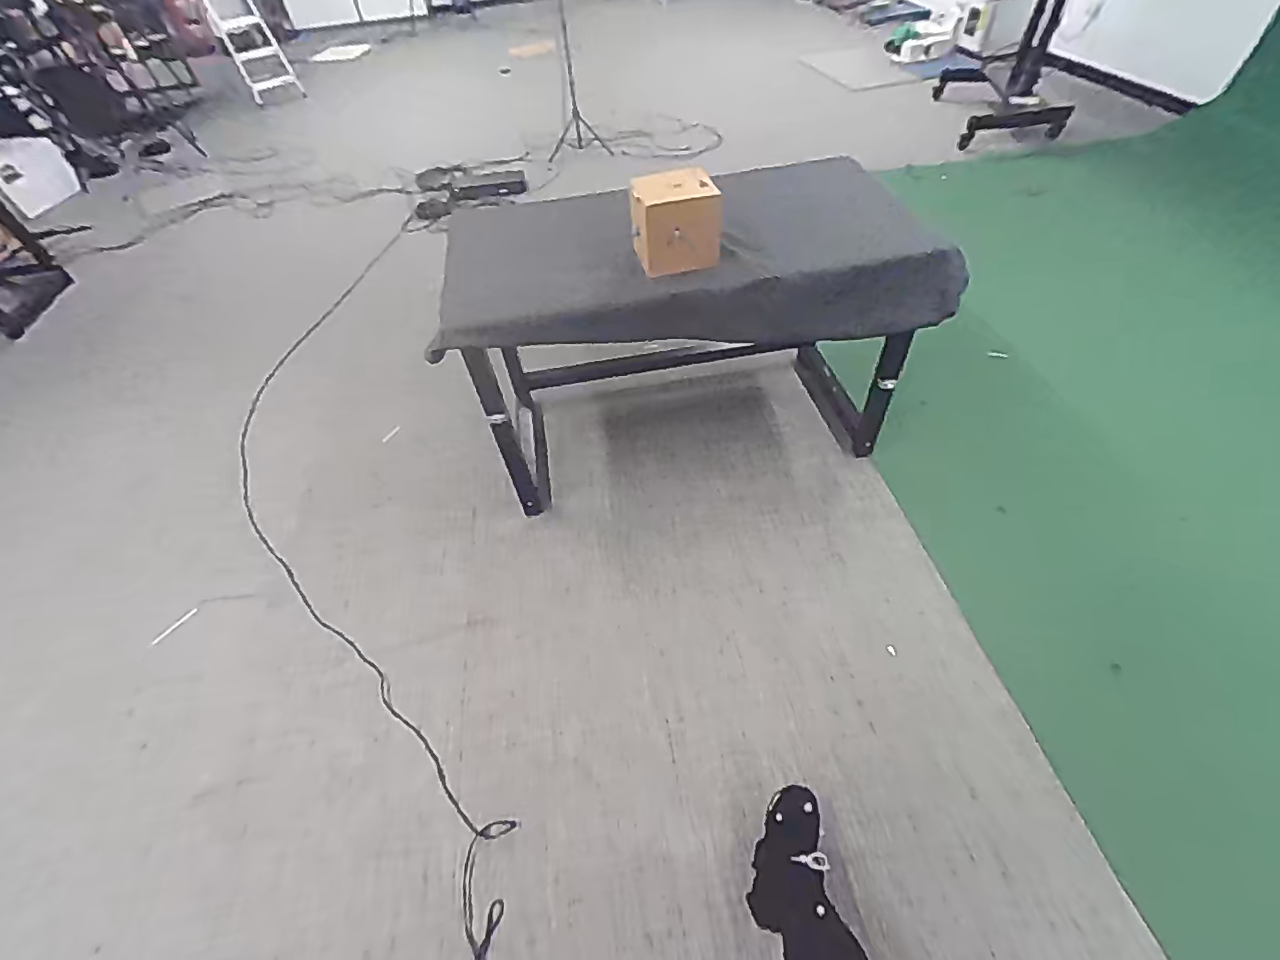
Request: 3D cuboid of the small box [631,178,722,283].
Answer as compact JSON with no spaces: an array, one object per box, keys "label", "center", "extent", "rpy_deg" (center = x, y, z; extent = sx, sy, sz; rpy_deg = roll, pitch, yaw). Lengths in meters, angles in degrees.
[{"label":"small box","center":[0.088,-0.591,1.289],"extent":[0.179,0.176,0.168],"rpy_deg":[-14,47,-7]}]
